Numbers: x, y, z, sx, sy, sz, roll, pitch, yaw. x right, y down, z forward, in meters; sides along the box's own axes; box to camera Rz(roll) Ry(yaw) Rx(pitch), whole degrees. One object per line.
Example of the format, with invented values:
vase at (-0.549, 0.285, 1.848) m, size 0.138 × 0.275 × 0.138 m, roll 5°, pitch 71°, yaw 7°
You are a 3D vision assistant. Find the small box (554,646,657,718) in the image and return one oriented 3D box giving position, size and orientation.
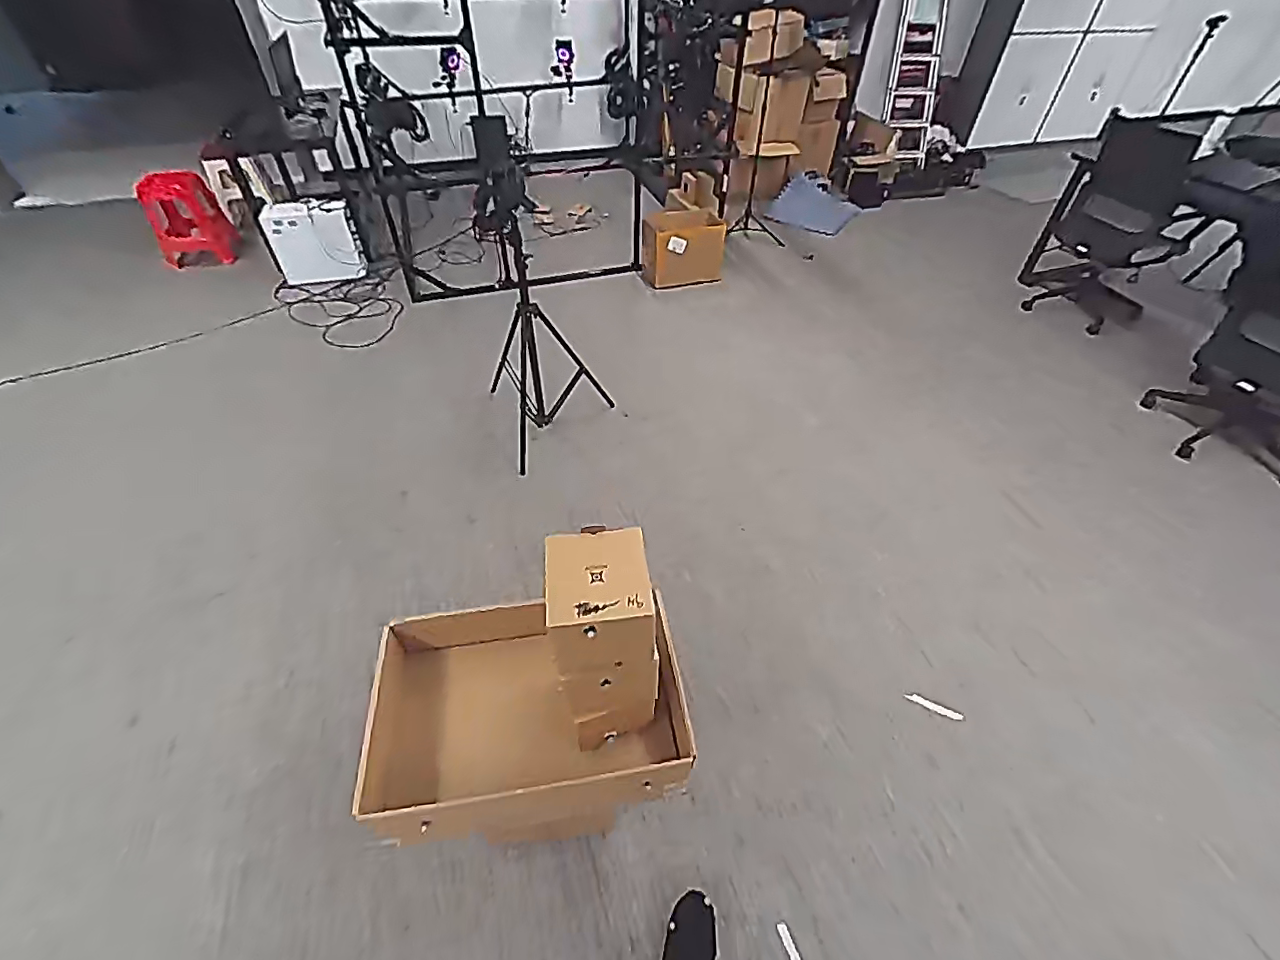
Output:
small box at (-0.068, 0.327, 1.022) m, size 0.179 × 0.176 × 0.168 m, roll -9°, pitch 46°, yaw -9°

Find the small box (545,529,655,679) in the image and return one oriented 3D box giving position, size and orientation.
small box at (-0.067, 0.208, 0.909) m, size 0.168 × 0.176 × 0.179 m, roll -6°, pitch 45°, yaw -4°
